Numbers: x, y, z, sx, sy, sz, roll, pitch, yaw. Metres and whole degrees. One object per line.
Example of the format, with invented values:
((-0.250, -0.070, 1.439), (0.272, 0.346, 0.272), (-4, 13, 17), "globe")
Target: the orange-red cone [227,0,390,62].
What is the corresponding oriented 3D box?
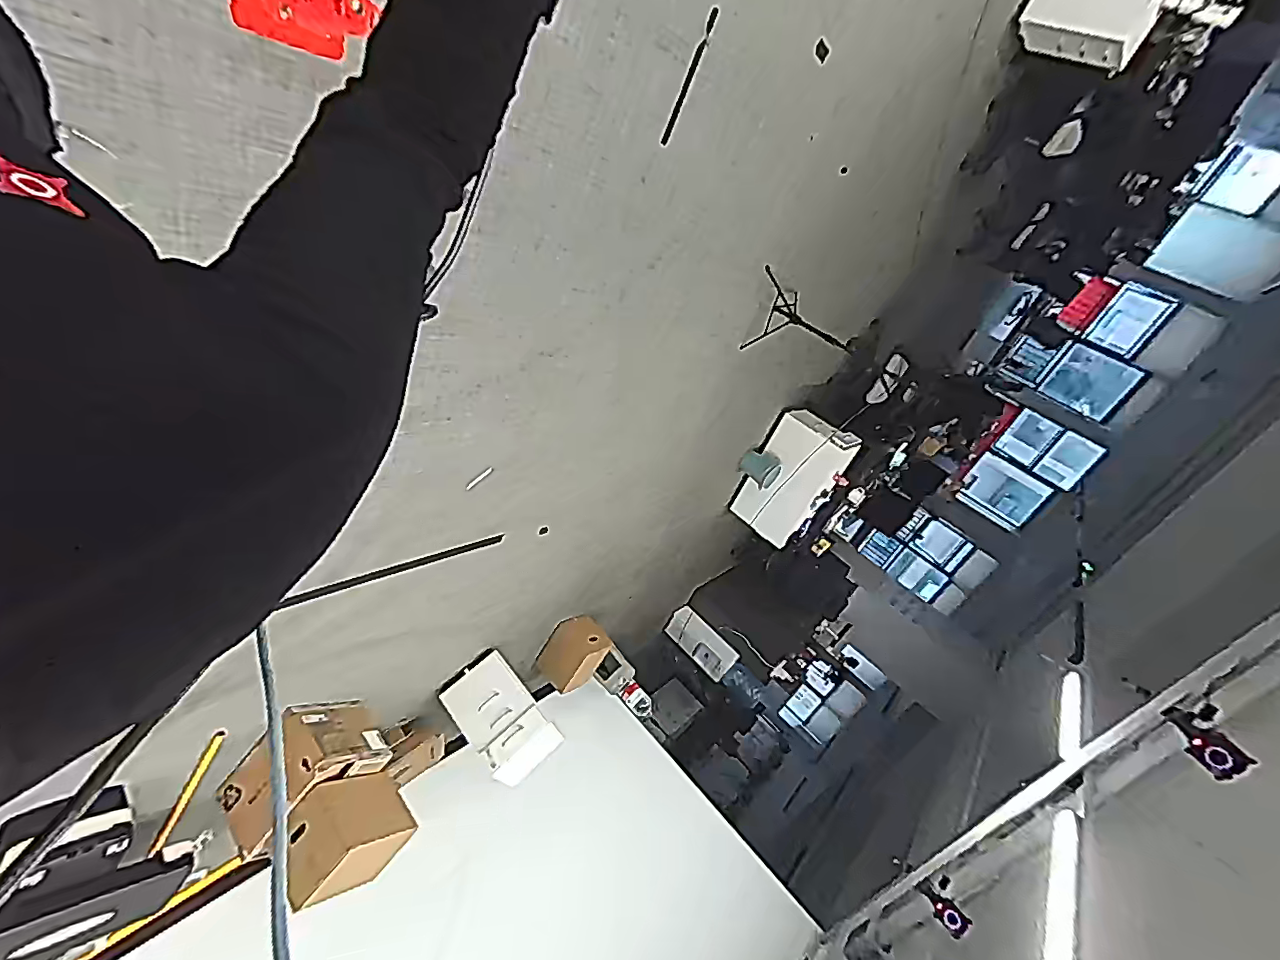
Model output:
((-0.544, -0.835, 0.943), (0.198, 0.360, 0.199), (-18, 139, -49), "orange-red cone")
